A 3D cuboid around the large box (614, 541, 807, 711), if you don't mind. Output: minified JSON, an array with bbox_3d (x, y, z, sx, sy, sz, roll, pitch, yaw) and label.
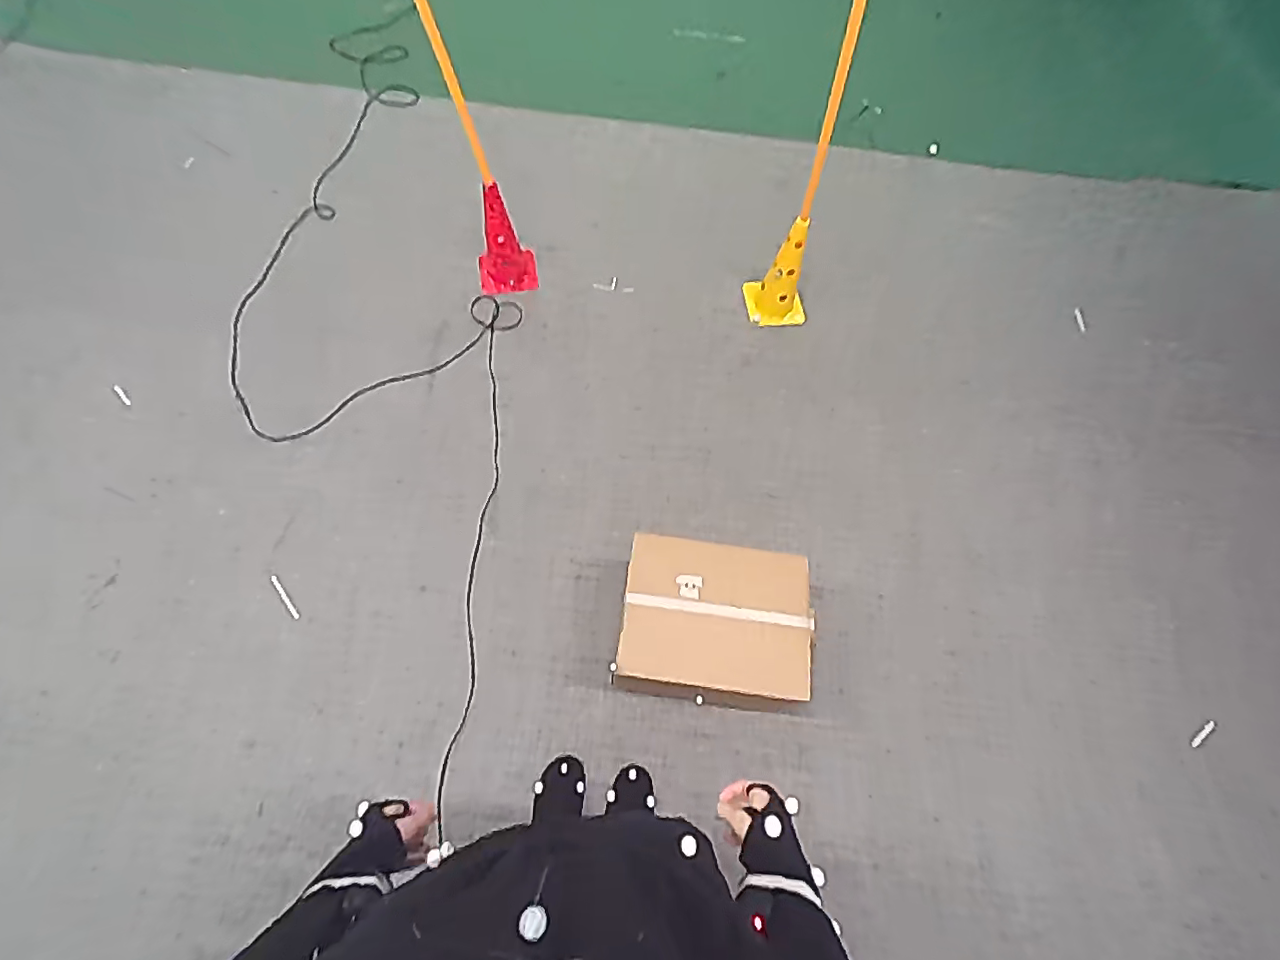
[{"bbox_3d":[0.158,0.364,1.303,0.408,0.320,0.320,8,63,1],"label":"large box"}]
